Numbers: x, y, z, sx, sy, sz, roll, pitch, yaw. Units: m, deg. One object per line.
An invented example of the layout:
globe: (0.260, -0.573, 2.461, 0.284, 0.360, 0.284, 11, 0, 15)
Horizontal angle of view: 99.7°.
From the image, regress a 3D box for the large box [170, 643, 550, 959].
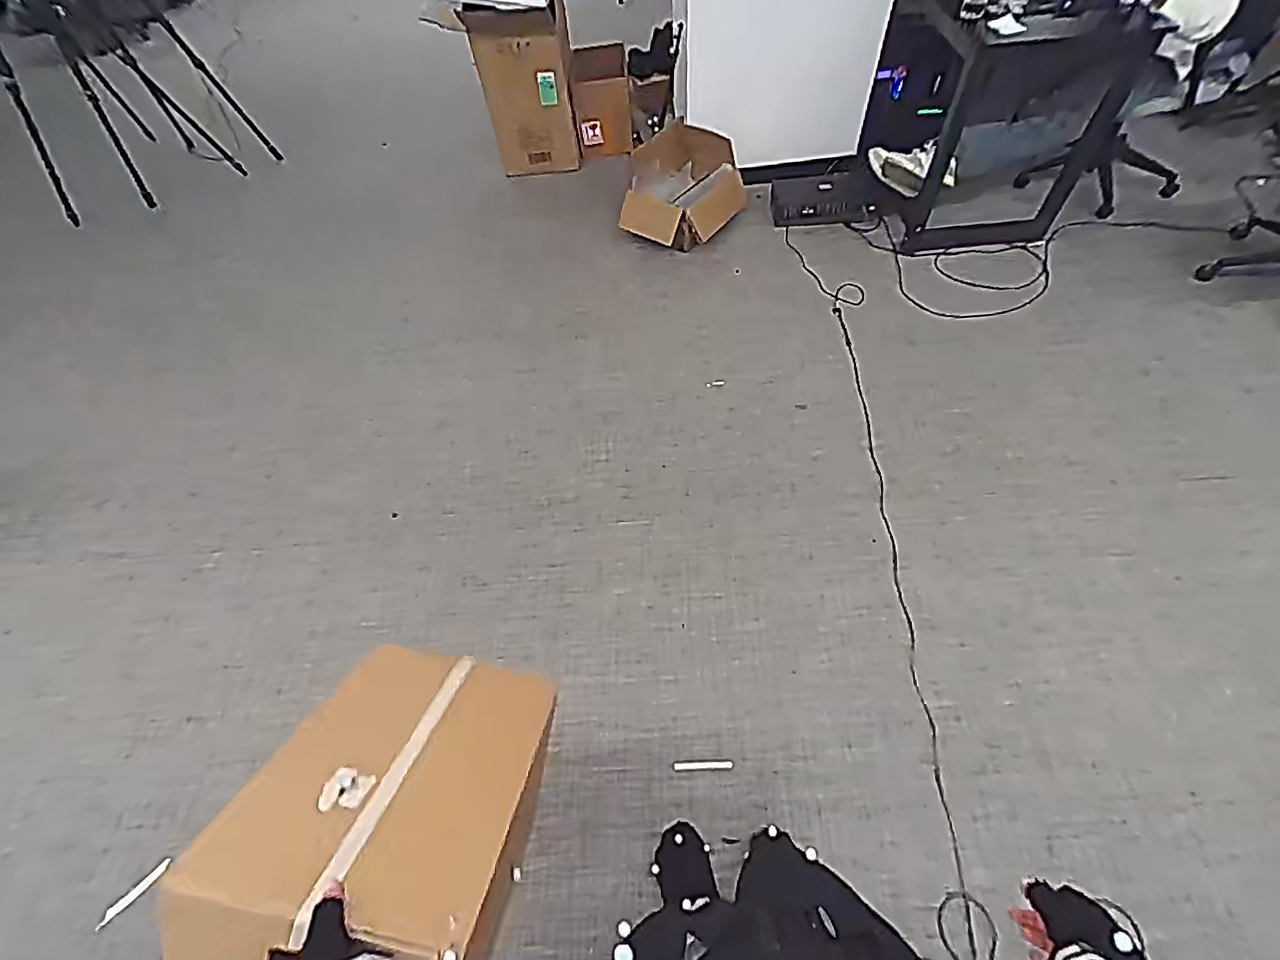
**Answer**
large box: (-0.343, 0.511, 0.779, 0.320, 0.320, 0.408, 12, 21, 1)
